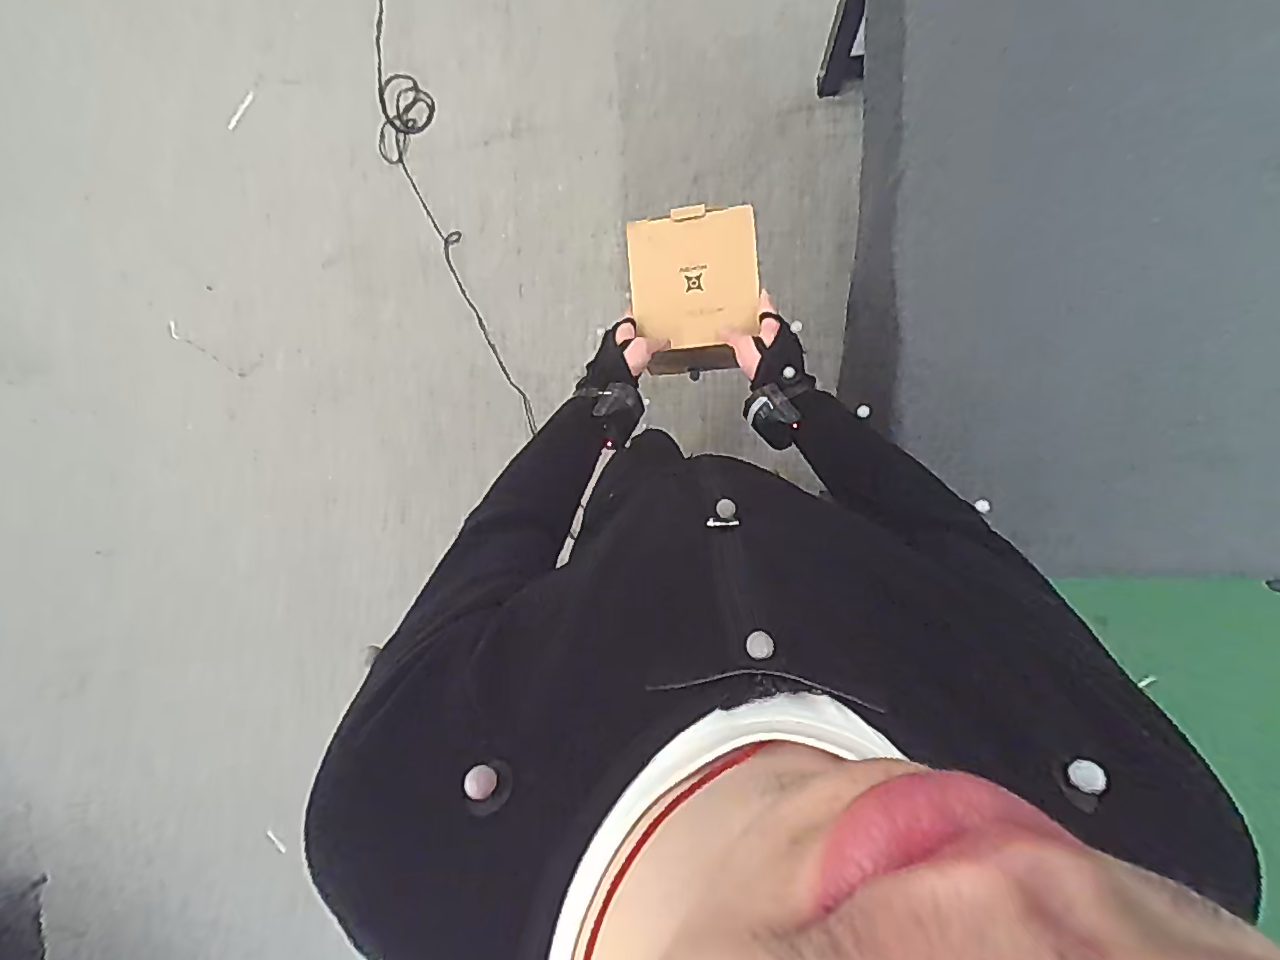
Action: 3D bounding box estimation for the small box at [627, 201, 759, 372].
[{"bbox_3d":[0.077,-0.257,0.756,0.168,0.176,0.179,-2,90,9],"label":"small box"}]
